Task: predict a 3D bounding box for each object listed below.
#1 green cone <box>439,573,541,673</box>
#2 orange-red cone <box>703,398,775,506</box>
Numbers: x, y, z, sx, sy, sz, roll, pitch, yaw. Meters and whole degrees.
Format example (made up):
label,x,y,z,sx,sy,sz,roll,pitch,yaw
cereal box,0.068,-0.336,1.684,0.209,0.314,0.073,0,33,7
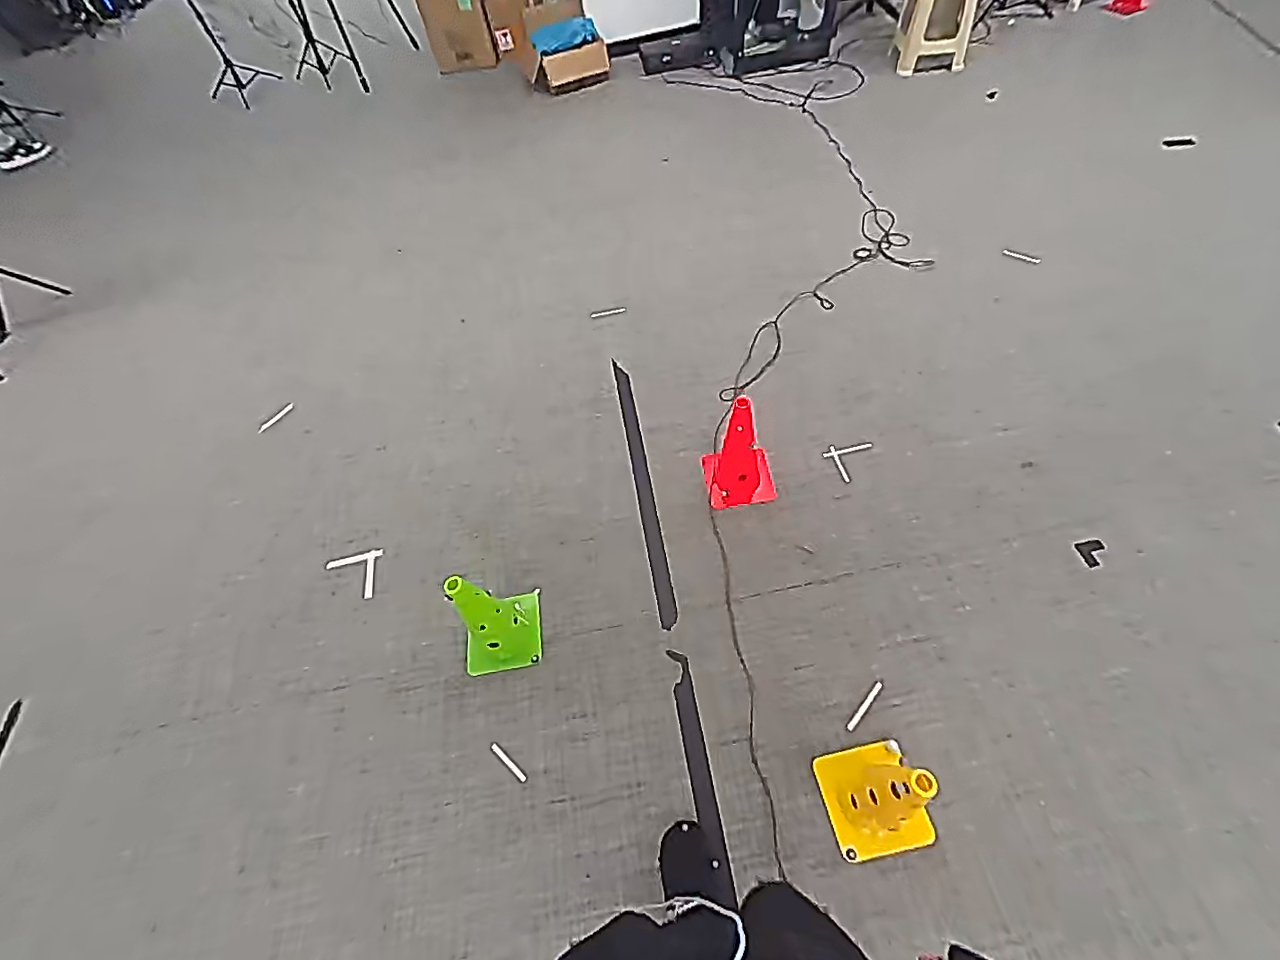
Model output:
label,x,y,z,sx,sy,sz,roll,pitch,yaw
green cone,-0.391,0.313,1.325,0.202,0.368,0.200,-12,56,1
orange-red cone,0.283,-0.102,1.515,0.199,0.360,0.198,-7,57,2
